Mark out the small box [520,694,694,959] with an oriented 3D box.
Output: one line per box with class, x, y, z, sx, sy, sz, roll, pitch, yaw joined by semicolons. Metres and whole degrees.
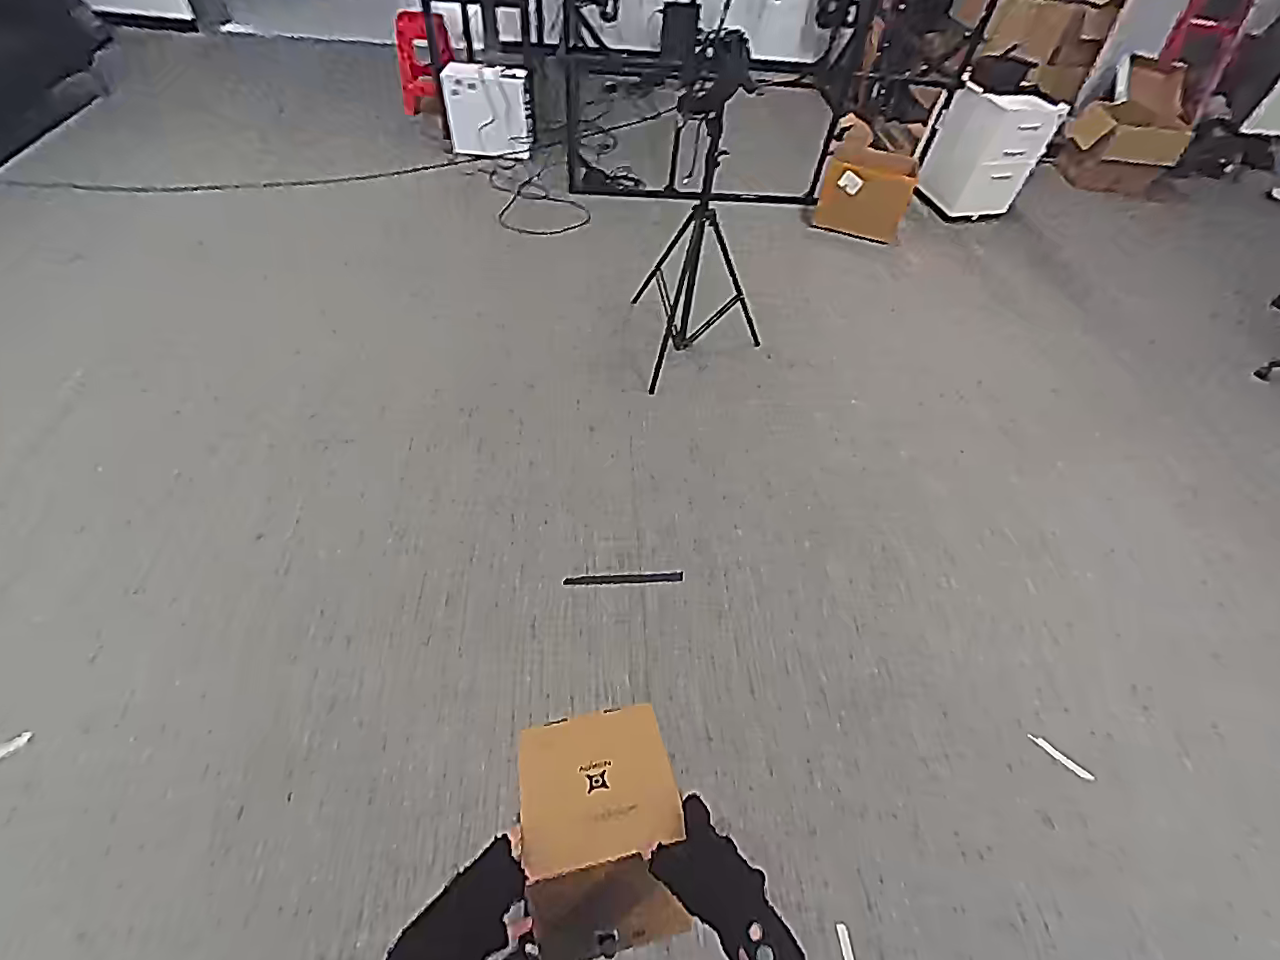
small box;-0.042;0.383;0.615;0.168;0.176;0.179;-9;26;-11
